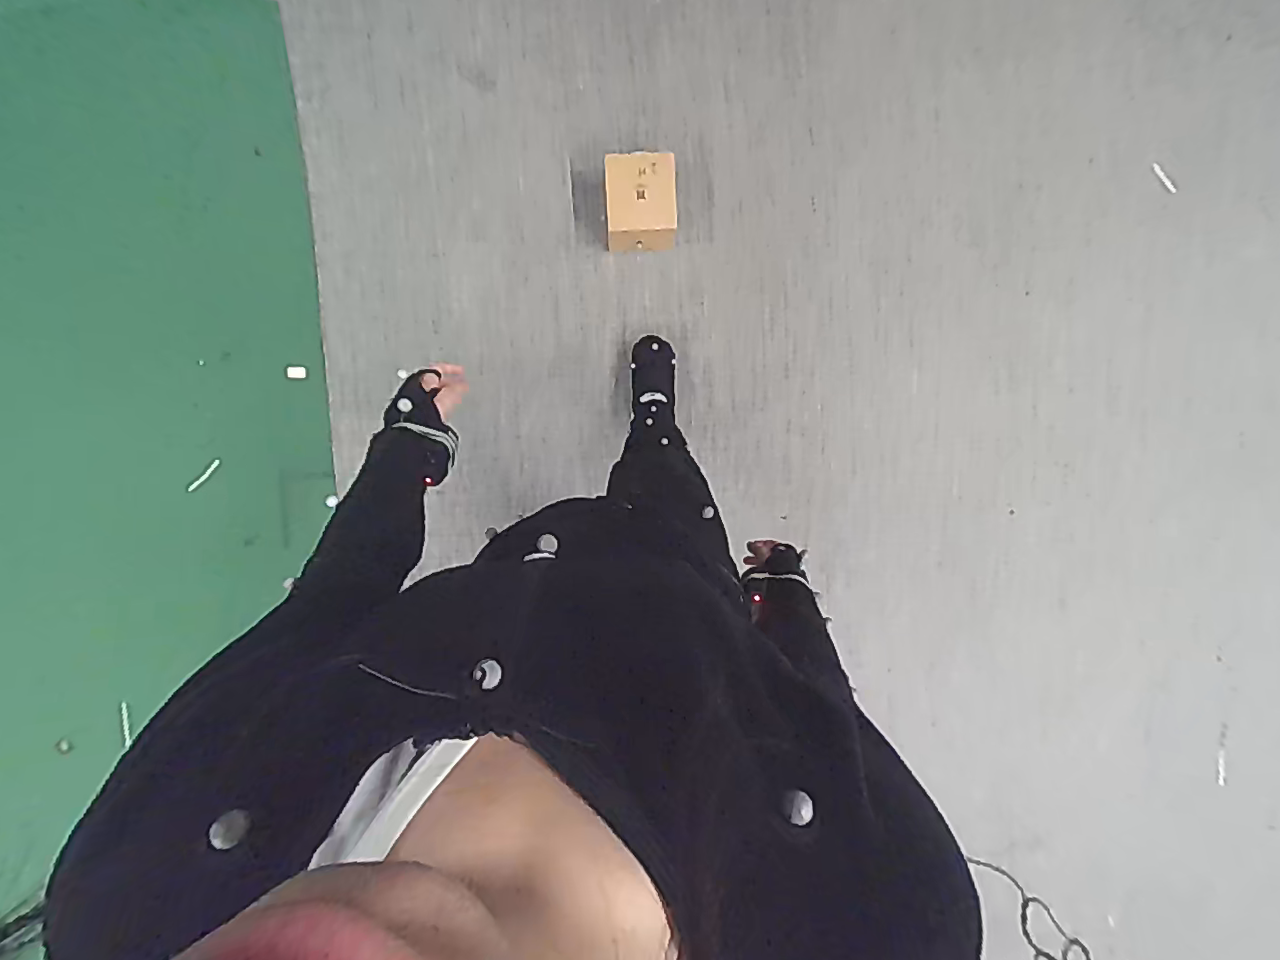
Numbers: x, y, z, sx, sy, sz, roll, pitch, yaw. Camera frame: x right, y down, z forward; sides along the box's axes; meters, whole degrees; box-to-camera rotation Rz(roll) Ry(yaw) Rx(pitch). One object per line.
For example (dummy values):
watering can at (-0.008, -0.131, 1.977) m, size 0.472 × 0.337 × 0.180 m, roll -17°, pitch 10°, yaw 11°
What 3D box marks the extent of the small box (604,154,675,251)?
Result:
small box at (-0.003, -0.680, 1.342) m, size 0.168 × 0.176 × 0.179 m, roll -3°, pitch 97°, yaw -2°
